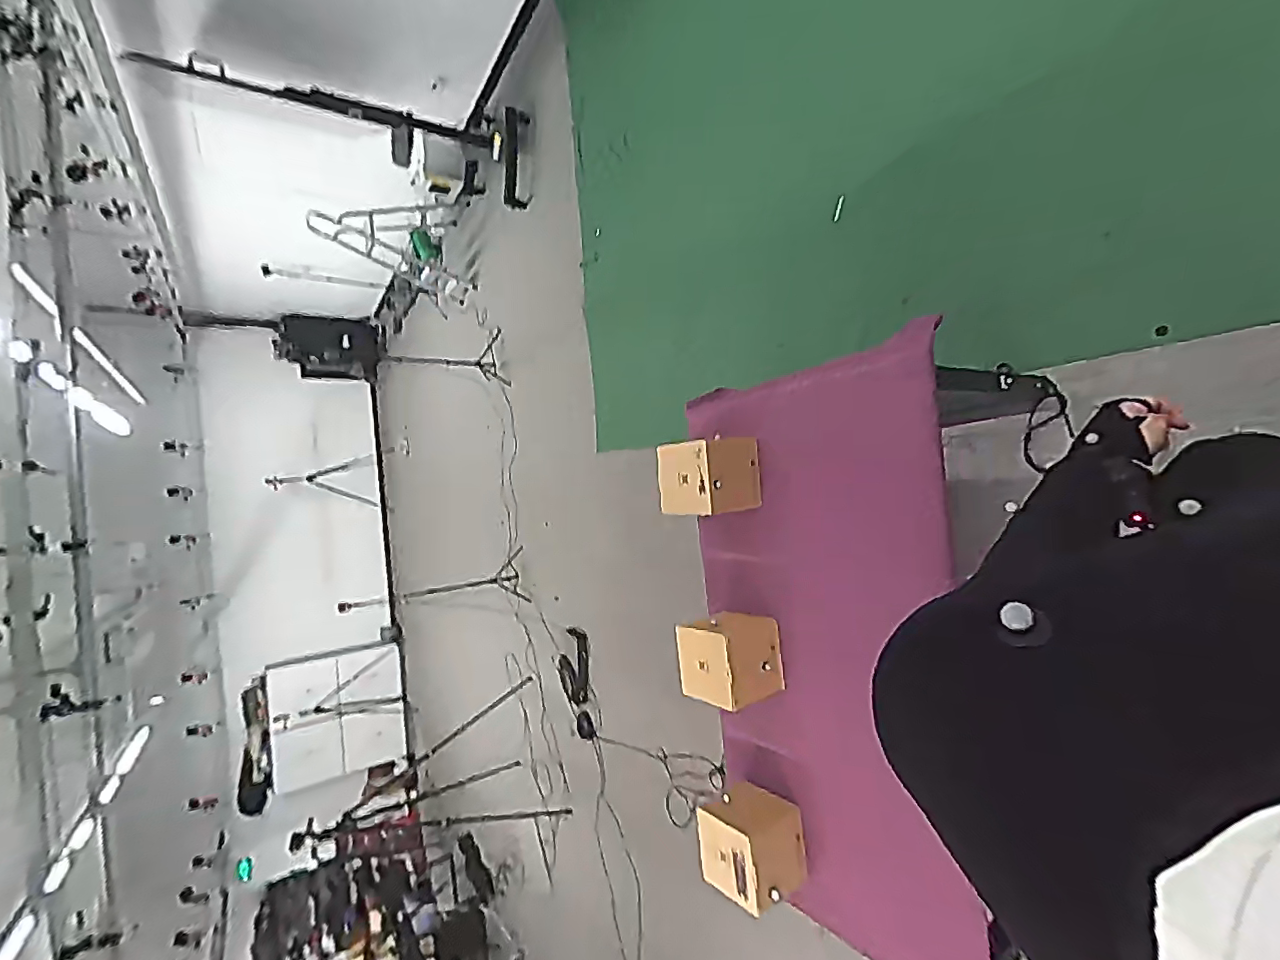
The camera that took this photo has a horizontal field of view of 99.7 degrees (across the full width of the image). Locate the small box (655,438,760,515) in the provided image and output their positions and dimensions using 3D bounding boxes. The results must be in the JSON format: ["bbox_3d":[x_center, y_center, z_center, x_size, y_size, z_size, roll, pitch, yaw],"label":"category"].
[{"bbox_3d":[0.158,-0.009,1.281,0.179,0.176,0.168,-4,92,54],"label":"small box"}]

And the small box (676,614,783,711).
[{"bbox_3d":[0.209,0.418,1.269,0.179,0.176,0.168,-10,85,54],"label":"small box"}]
